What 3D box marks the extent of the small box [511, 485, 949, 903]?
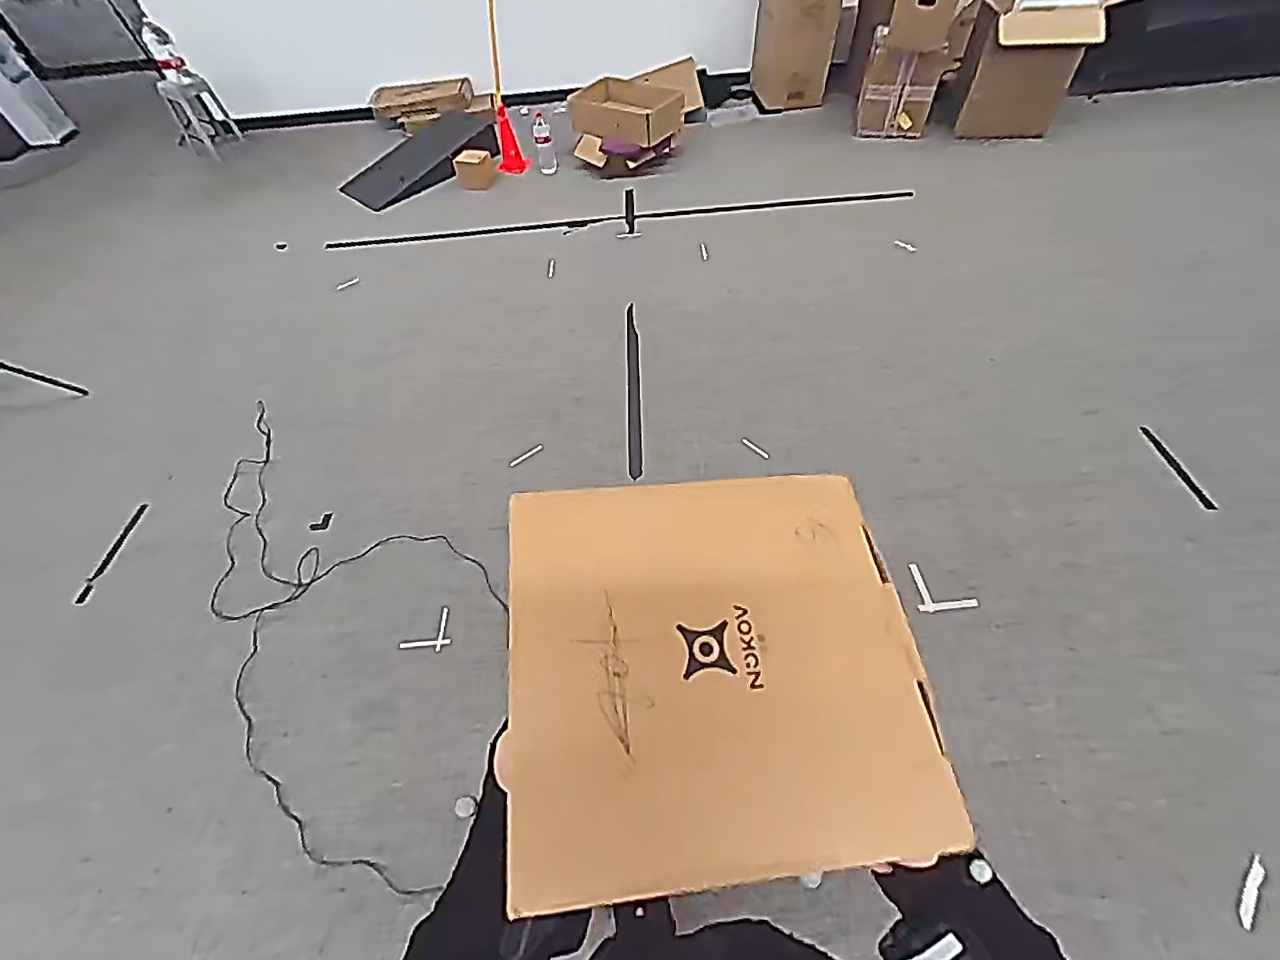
[{"bbox_3d":[0.025,0.118,0.313,0.179,0.176,0.168,-4,59,-6],"label":"small box"}]
